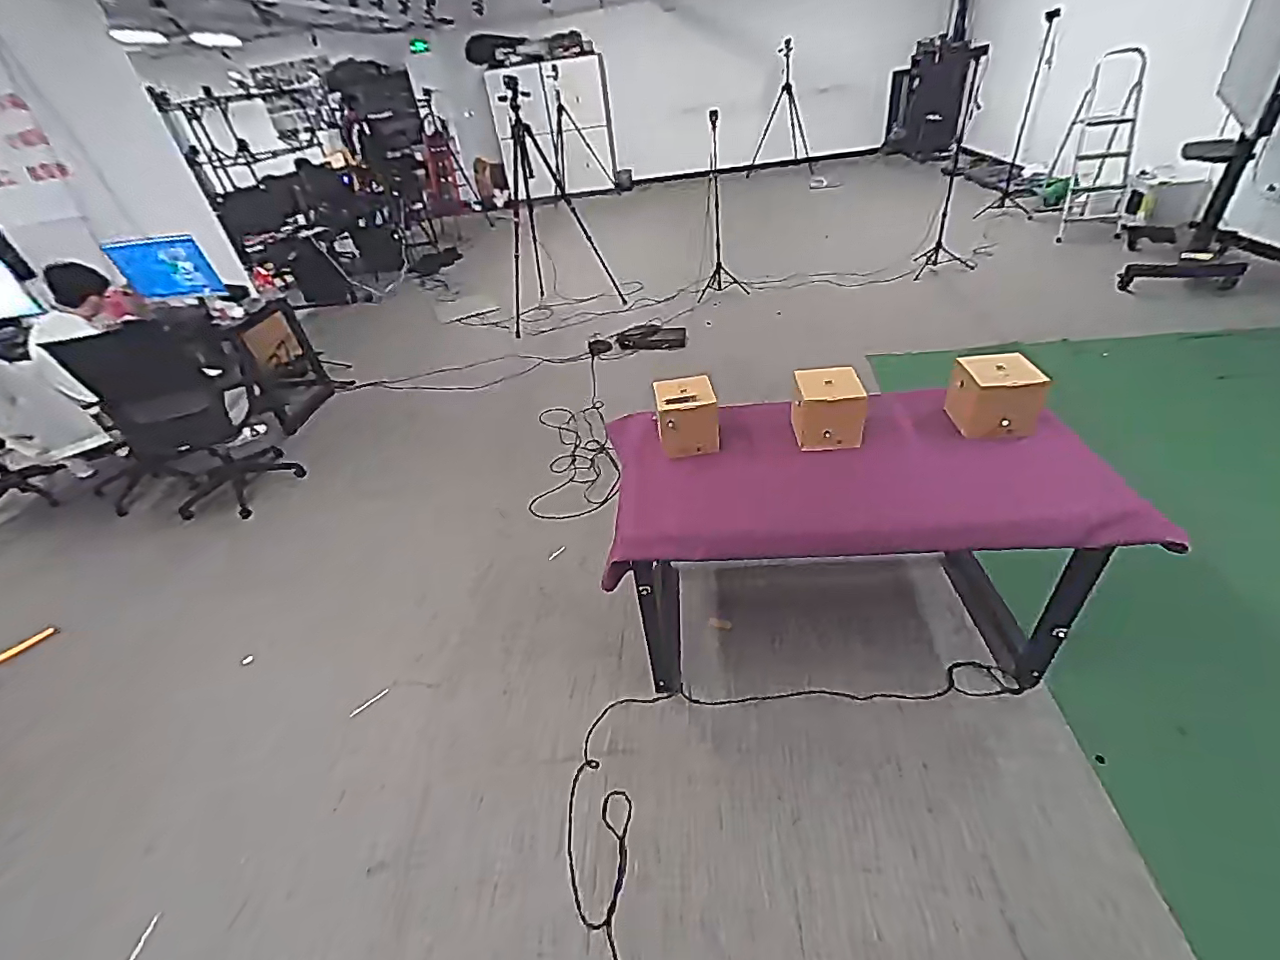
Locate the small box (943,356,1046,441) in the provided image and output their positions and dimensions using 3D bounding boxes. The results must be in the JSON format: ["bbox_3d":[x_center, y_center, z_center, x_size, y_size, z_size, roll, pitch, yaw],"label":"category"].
[{"bbox_3d":[0.964,-0.225,1.491,0.168,0.176,0.179,-3,38,8],"label":"small box"}]

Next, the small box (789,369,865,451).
[{"bbox_3d":[0.527,-0.200,1.546,0.168,0.176,0.179,-3,39,6],"label":"small box"}]
